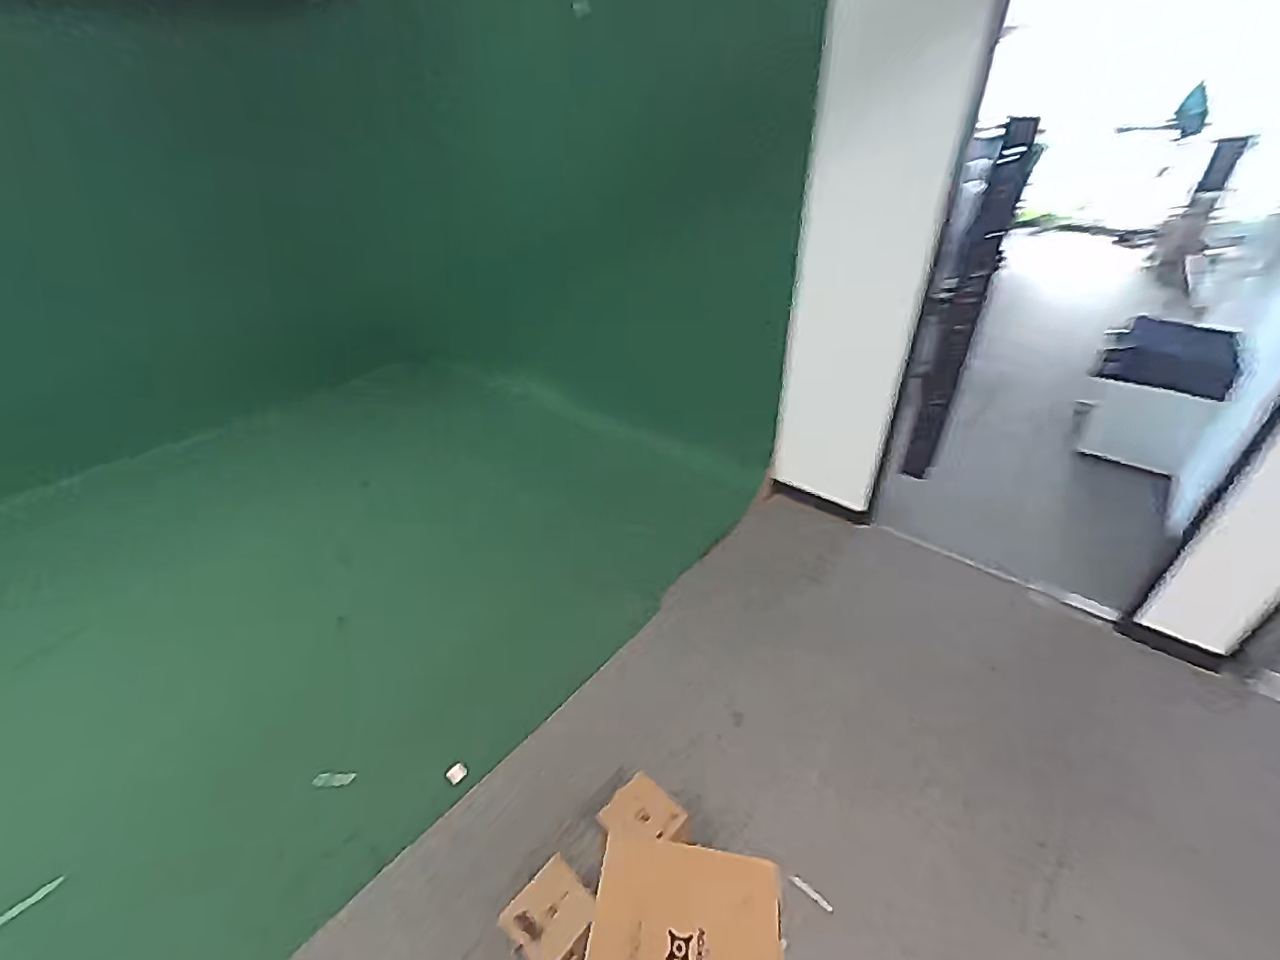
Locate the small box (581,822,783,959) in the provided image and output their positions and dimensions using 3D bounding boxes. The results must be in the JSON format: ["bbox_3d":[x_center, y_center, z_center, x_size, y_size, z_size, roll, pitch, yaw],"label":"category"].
[{"bbox_3d":[0.041,0.473,0.533,0.179,0.176,0.168,5,39,9],"label":"small box"}]

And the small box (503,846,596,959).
[{"bbox_3d":[-0.193,1.027,1.272,0.168,0.176,0.179,28,46,35],"label":"small box"}]

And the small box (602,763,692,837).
[{"bbox_3d":[0.020,0.904,1.425,0.179,0.176,0.168,29,47,36],"label":"small box"}]
